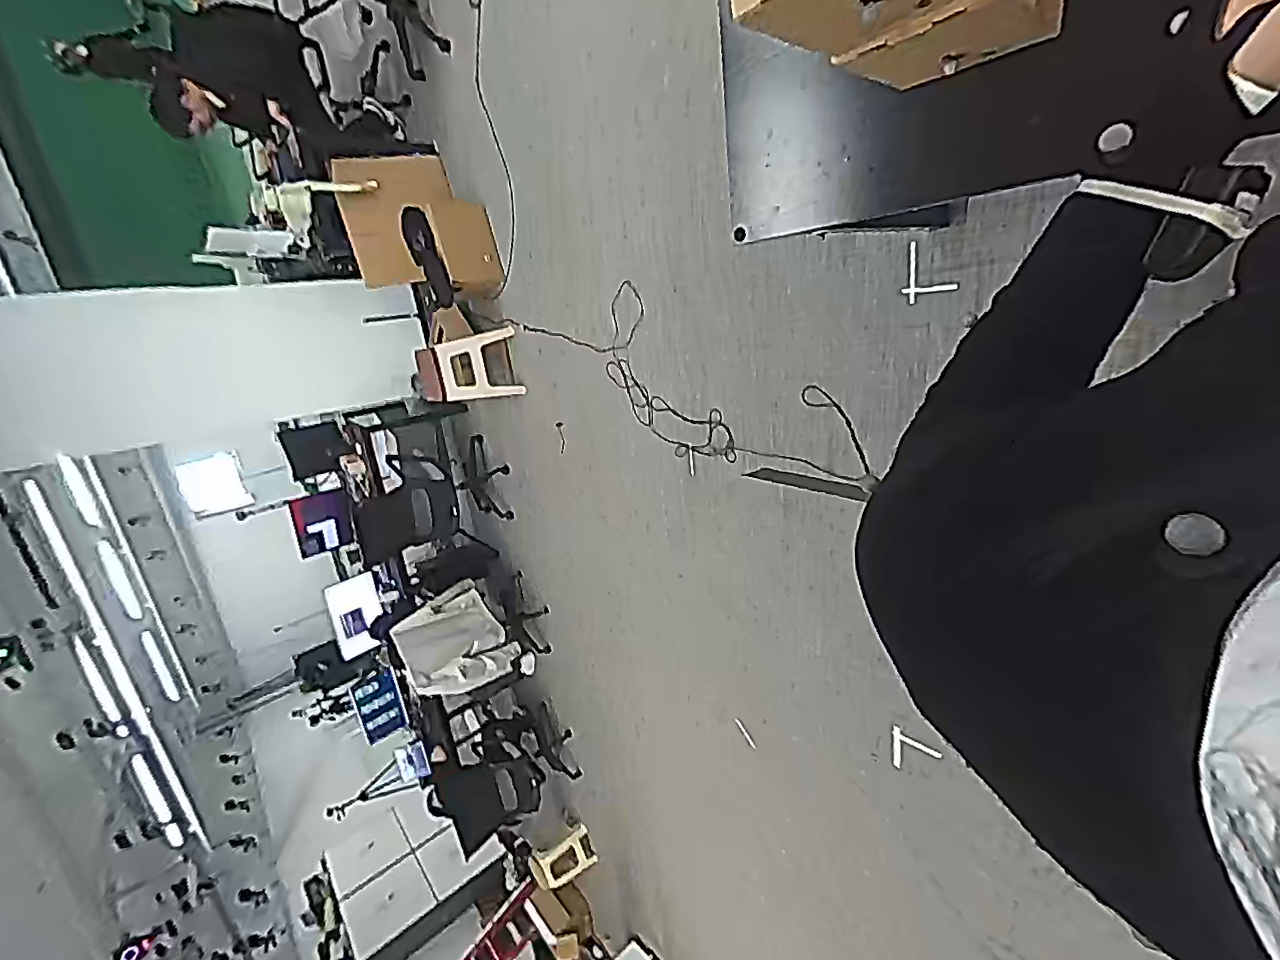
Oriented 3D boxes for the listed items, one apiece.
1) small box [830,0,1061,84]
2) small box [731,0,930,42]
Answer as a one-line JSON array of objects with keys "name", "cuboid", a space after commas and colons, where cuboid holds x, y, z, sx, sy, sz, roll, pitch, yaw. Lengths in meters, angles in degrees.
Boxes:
[{"name": "small box", "cuboid": [0.310, -0.535, 0.541, 0.168, 0.176, 0.179, 16, 119, 48]}, {"name": "small box", "cuboid": [0.184, -0.498, 0.443, 0.168, 0.176, 0.179, 12, 116, 49]}]
